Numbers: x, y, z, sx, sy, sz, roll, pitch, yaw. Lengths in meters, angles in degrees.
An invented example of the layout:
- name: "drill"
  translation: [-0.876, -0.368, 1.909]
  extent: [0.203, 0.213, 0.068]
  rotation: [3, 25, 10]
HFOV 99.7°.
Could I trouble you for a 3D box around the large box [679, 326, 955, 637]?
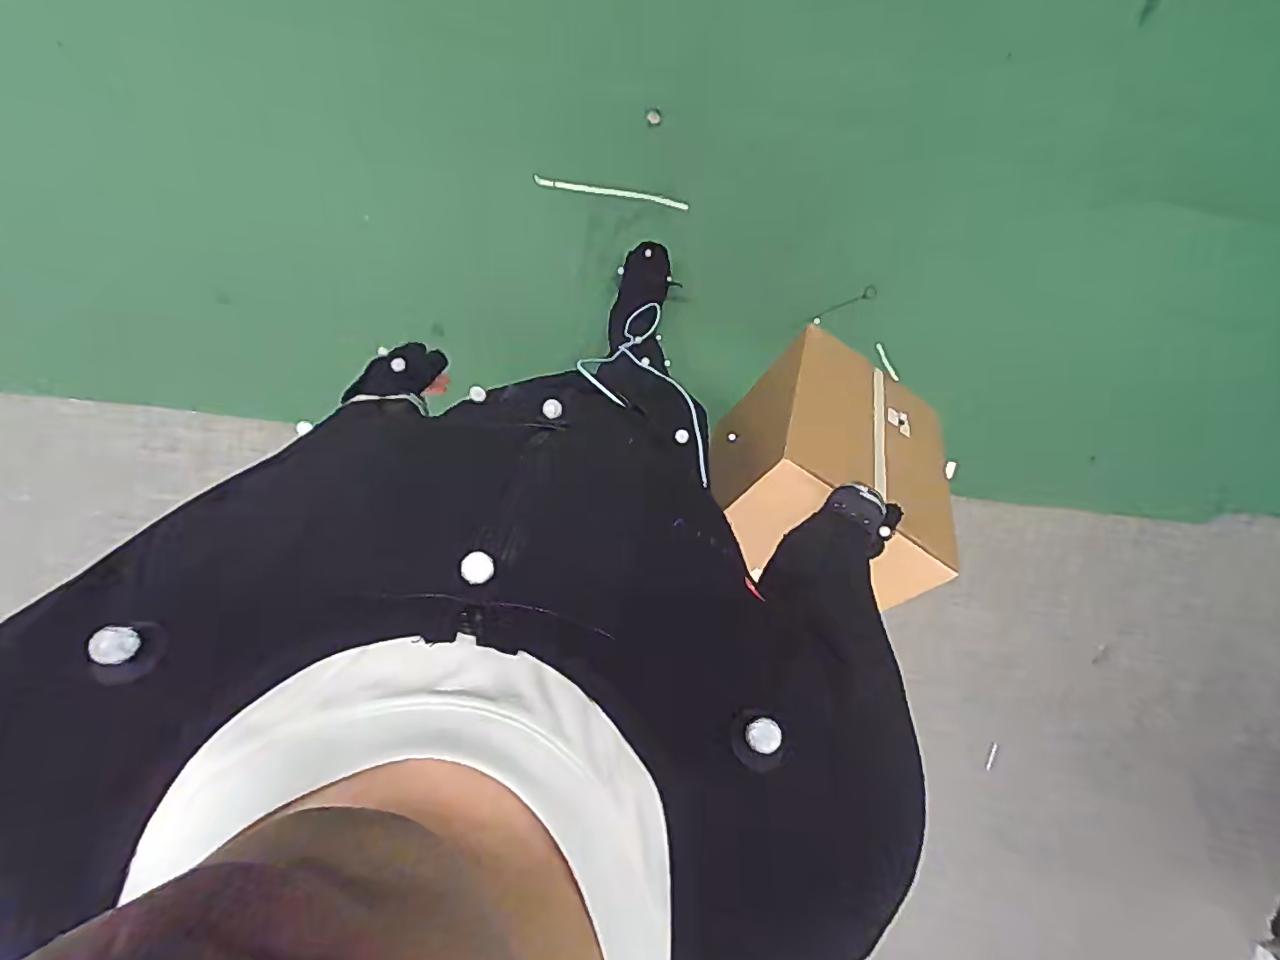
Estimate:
- name: "large box"
  translation: [0.312, 0.003, 0.991]
  extent: [0.320, 0.408, 0.320]
  rotation: [33, 135, -8]
